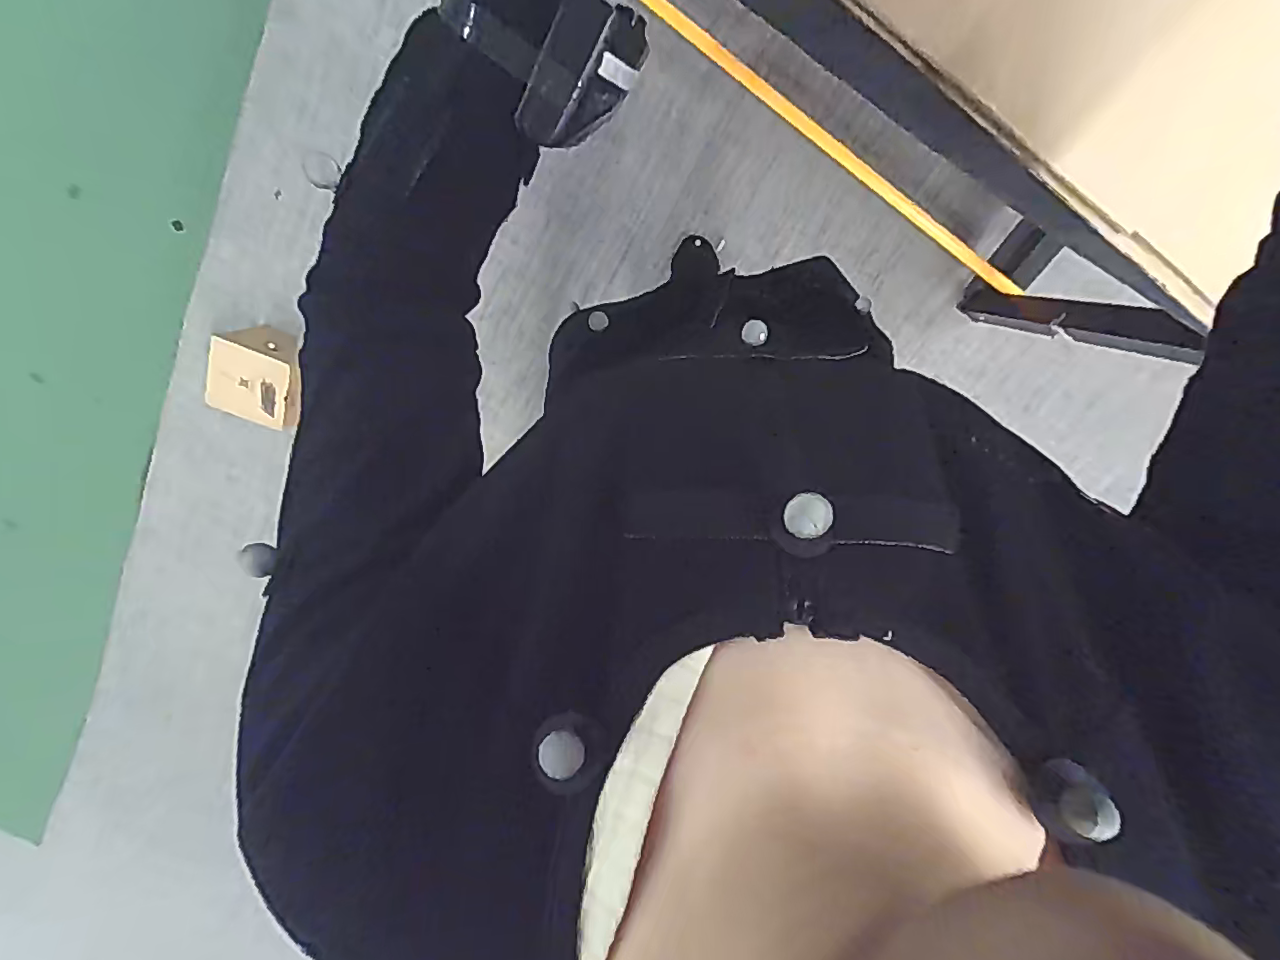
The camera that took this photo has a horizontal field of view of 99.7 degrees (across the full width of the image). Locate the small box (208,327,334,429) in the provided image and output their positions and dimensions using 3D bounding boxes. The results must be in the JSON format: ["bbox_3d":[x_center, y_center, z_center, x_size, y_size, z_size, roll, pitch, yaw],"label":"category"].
[{"bbox_3d":[-0.848,-0.243,1.254,0.179,0.176,0.168,21,111,-6],"label":"small box"}]
